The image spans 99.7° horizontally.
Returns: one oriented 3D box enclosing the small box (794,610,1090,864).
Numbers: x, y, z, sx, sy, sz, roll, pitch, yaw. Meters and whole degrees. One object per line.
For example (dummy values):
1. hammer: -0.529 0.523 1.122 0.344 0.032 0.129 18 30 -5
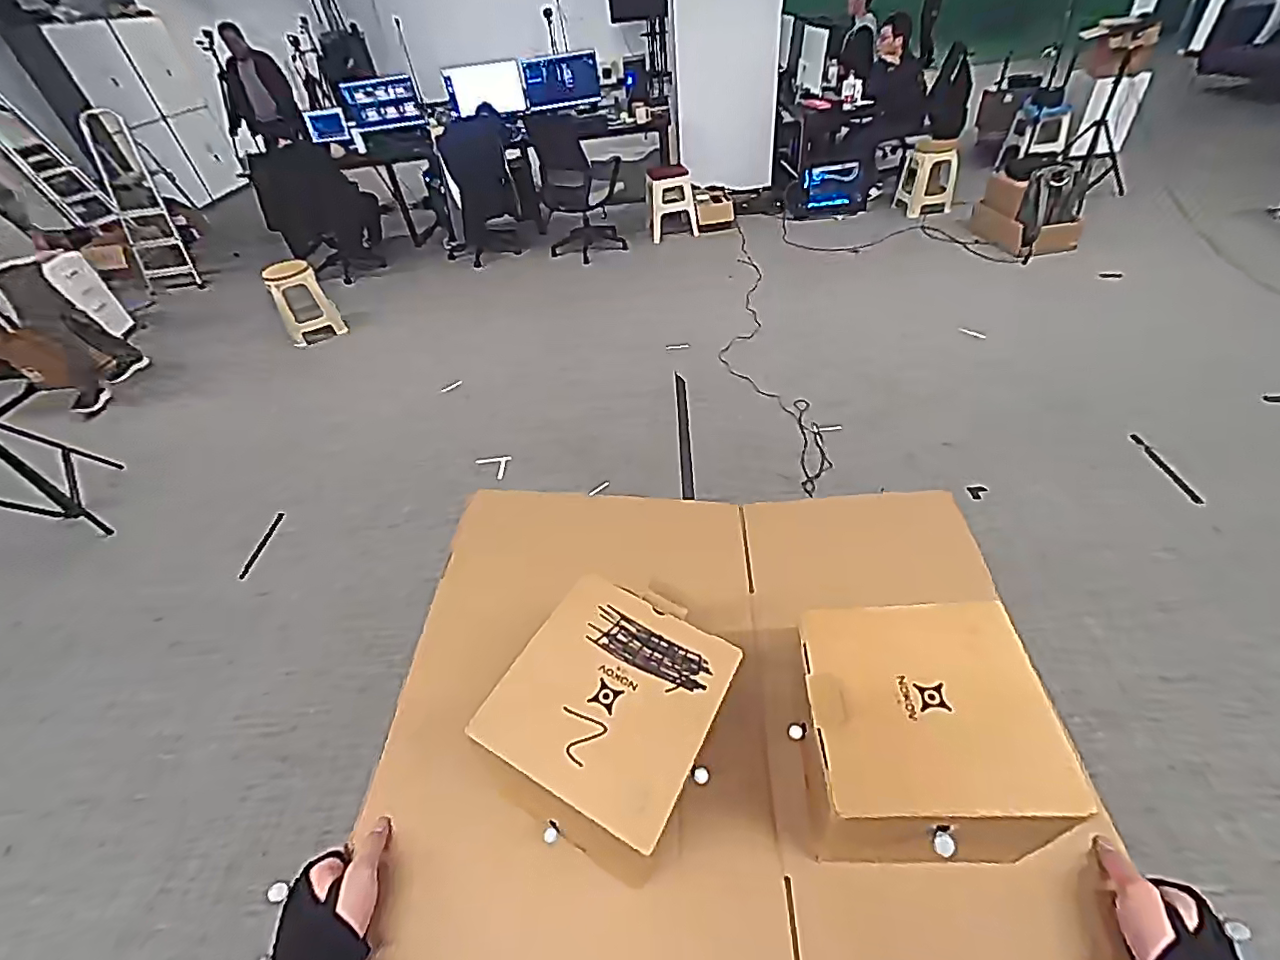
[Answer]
1. small box: 0.245 0.238 0.498 0.179 0.176 0.168 -6 45 8
